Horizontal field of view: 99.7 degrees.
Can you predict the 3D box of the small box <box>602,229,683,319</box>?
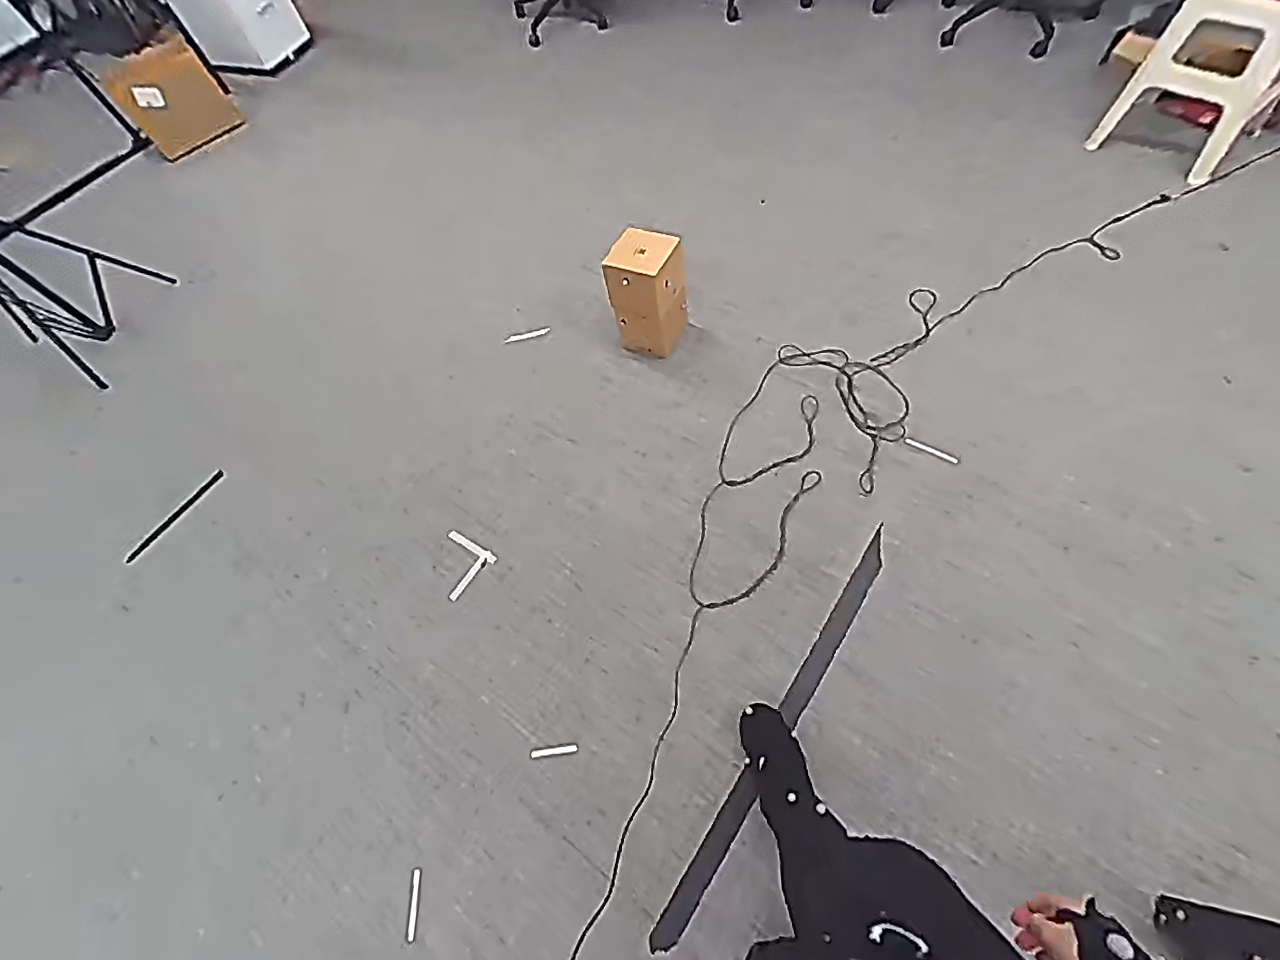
[{"bbox_3d":[0.016,-0.600,1.587,0.179,0.176,0.168,21,66,20],"label":"small box"}]
